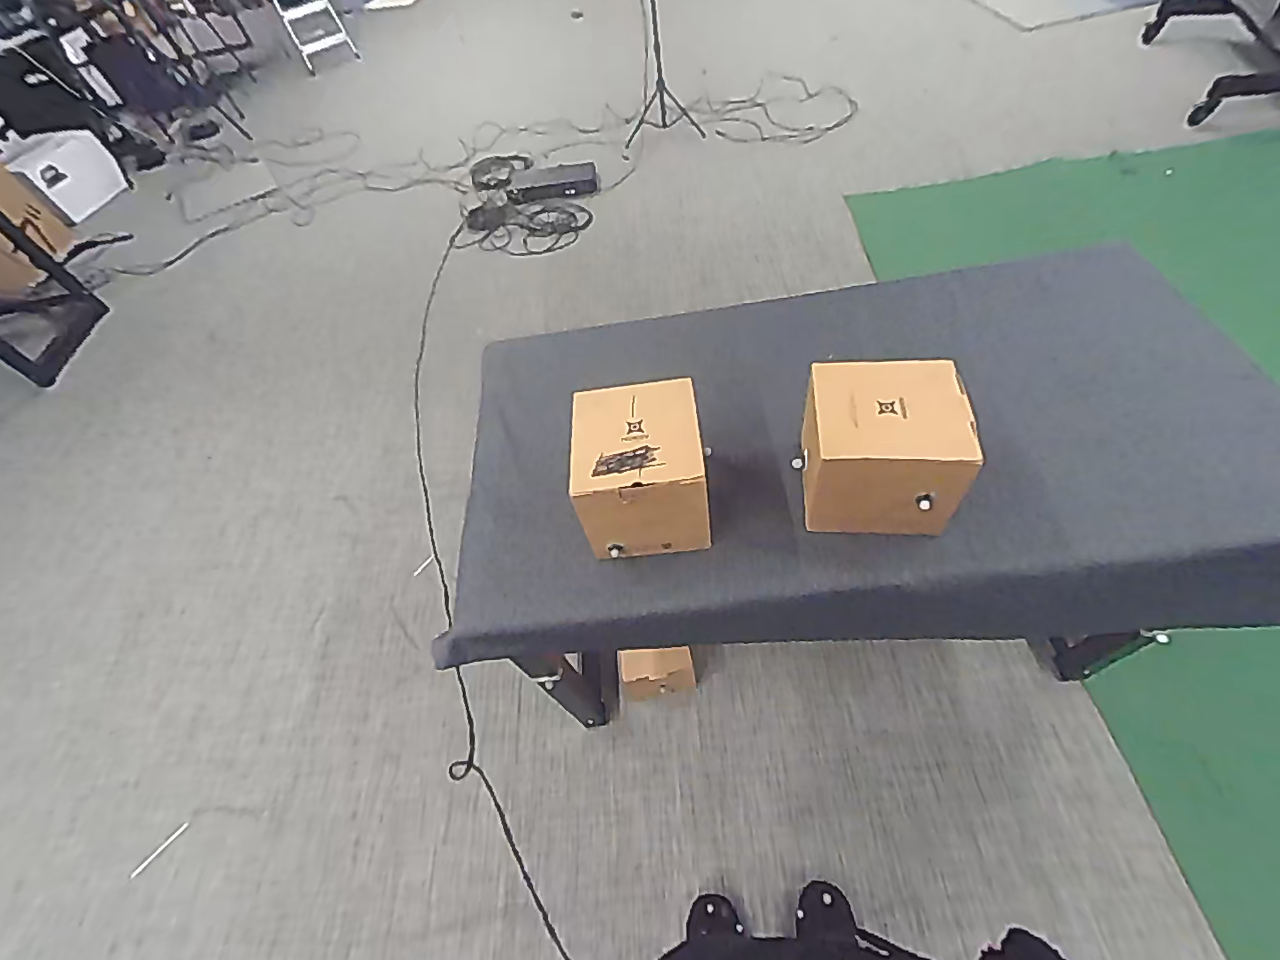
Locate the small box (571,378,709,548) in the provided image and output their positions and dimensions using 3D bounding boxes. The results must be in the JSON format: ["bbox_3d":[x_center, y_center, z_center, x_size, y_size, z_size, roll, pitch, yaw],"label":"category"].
[{"bbox_3d":[0.006,-0.015,0.758,0.168,0.176,0.179,-5,53,5],"label":"small box"}]

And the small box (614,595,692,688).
[{"bbox_3d":[0.035,0.412,1.355,0.168,0.176,0.179,-10,55,1],"label":"small box"}]

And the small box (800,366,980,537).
[{"bbox_3d":[0.316,-0.034,0.727,0.179,0.176,0.168,1,54,11],"label":"small box"}]
